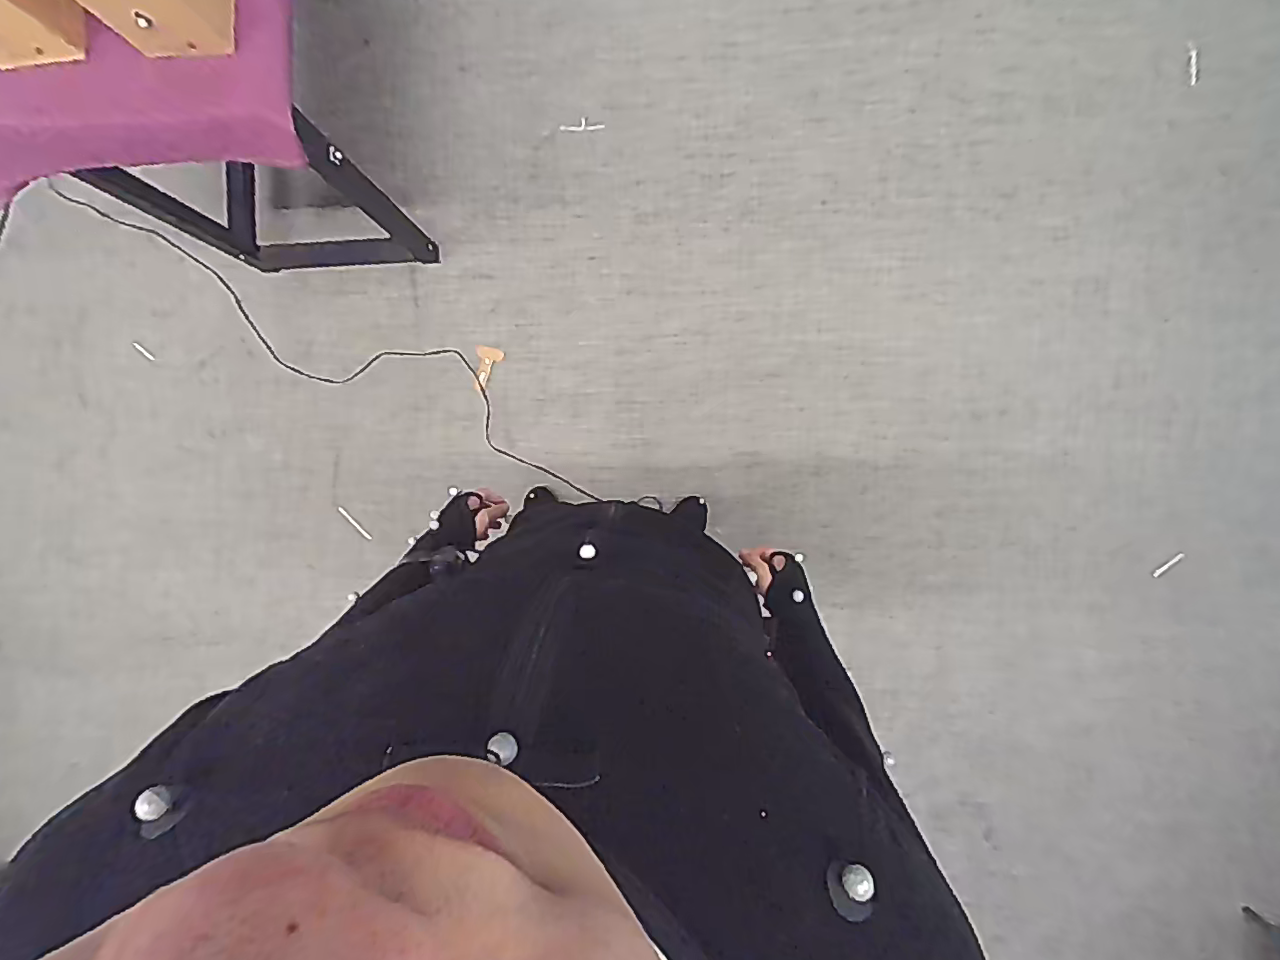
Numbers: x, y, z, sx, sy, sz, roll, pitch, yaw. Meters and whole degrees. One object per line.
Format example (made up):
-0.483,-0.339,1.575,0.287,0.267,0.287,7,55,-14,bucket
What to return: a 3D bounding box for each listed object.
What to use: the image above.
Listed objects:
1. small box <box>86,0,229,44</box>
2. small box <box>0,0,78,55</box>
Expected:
-0.788,-0.832,0.853,0.168,0.176,0.179,1,90,4,small box
-1.072,-0.831,0.874,0.168,0.176,0.179,-4,89,3,small box
